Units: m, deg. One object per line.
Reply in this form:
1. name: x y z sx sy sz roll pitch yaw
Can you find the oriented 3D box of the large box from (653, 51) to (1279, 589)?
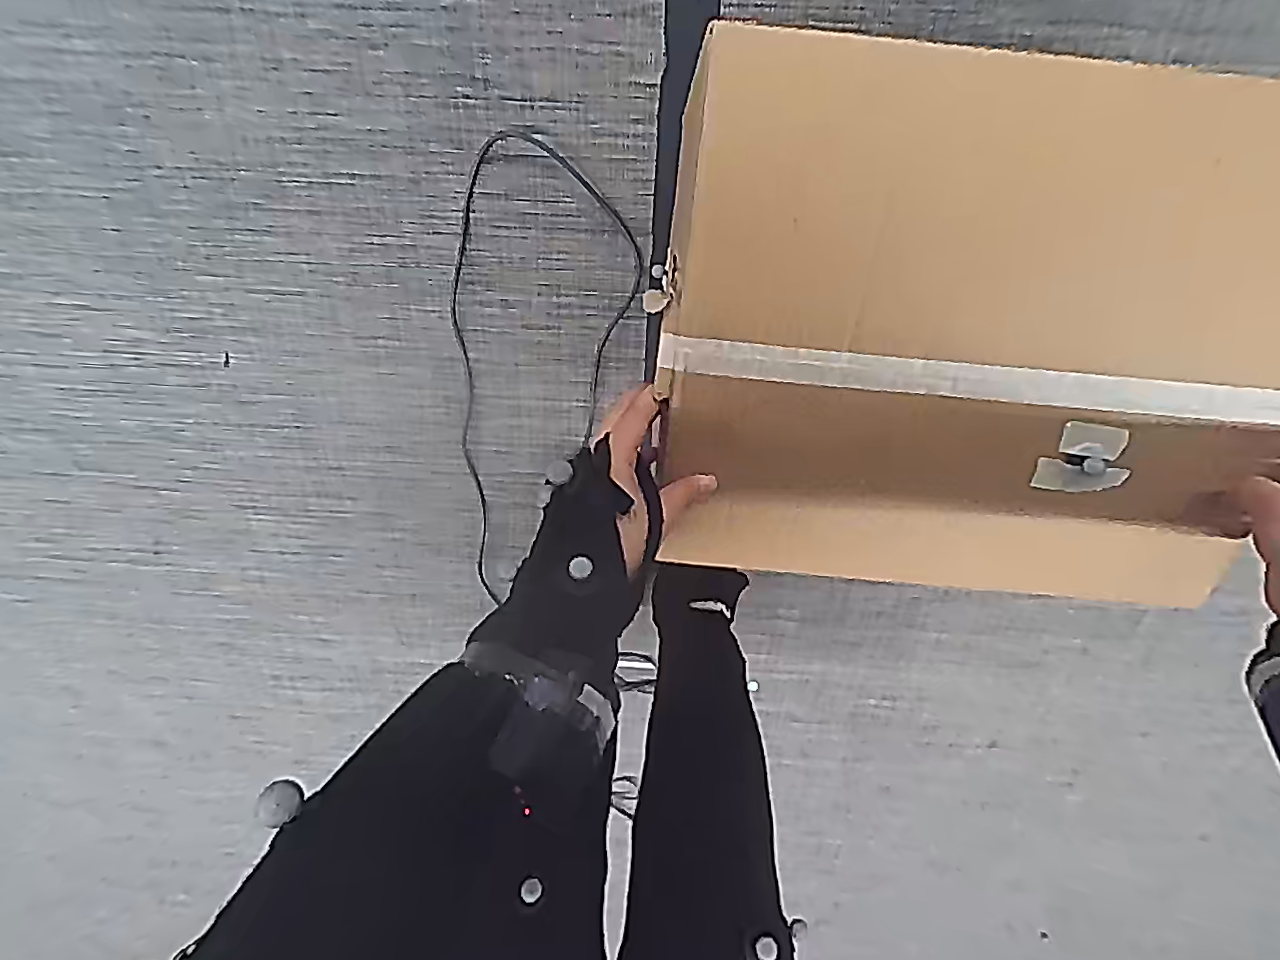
1. large box: 0.218 -0.131 0.474 0.408 0.320 0.320 5 117 -1
